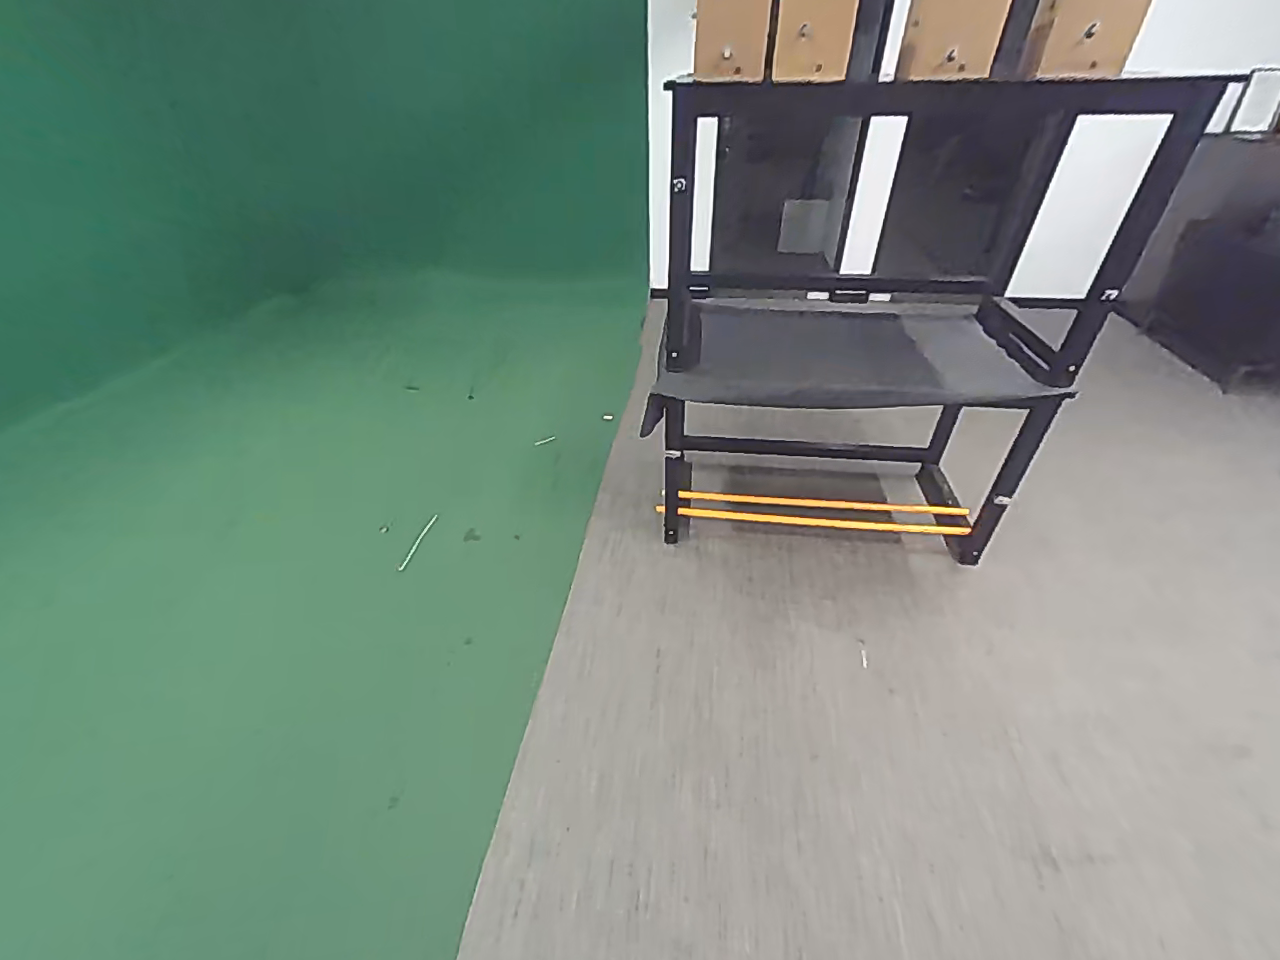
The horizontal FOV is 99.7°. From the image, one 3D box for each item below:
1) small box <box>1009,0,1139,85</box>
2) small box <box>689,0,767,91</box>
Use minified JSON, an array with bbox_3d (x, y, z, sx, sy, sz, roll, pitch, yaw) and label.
[{"bbox_3d":[0.960,-0.987,1.202,0.168,0.176,0.179,9,38,13],"label":"small box"},{"bbox_3d":[0.205,-1.048,1.303,0.168,0.176,0.179,3,38,4],"label":"small box"}]
